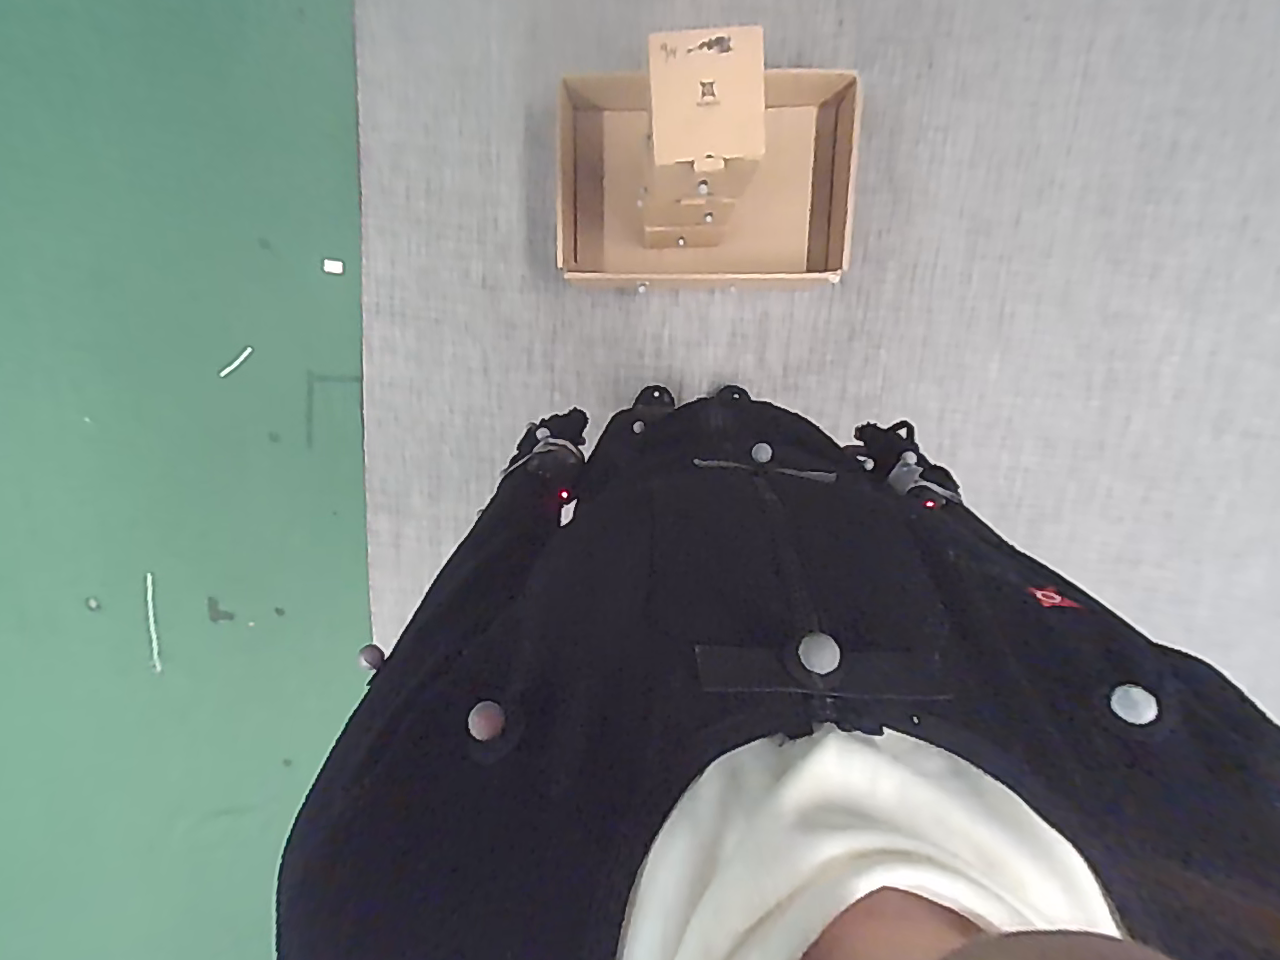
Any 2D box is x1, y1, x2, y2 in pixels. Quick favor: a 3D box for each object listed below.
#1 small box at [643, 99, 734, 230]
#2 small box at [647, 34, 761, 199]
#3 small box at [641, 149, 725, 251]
[{"bbox_3d":[0.090,-0.589,1.029,0.168,0.176,0.179,1,99,0],"label":"small box"},{"bbox_3d":[0.095,-0.565,0.867,0.168,0.176,0.179,-1,101,1],"label":"small box"},{"bbox_3d":[0.092,-0.610,1.188,0.179,0.176,0.168,0,100,3],"label":"small box"}]
